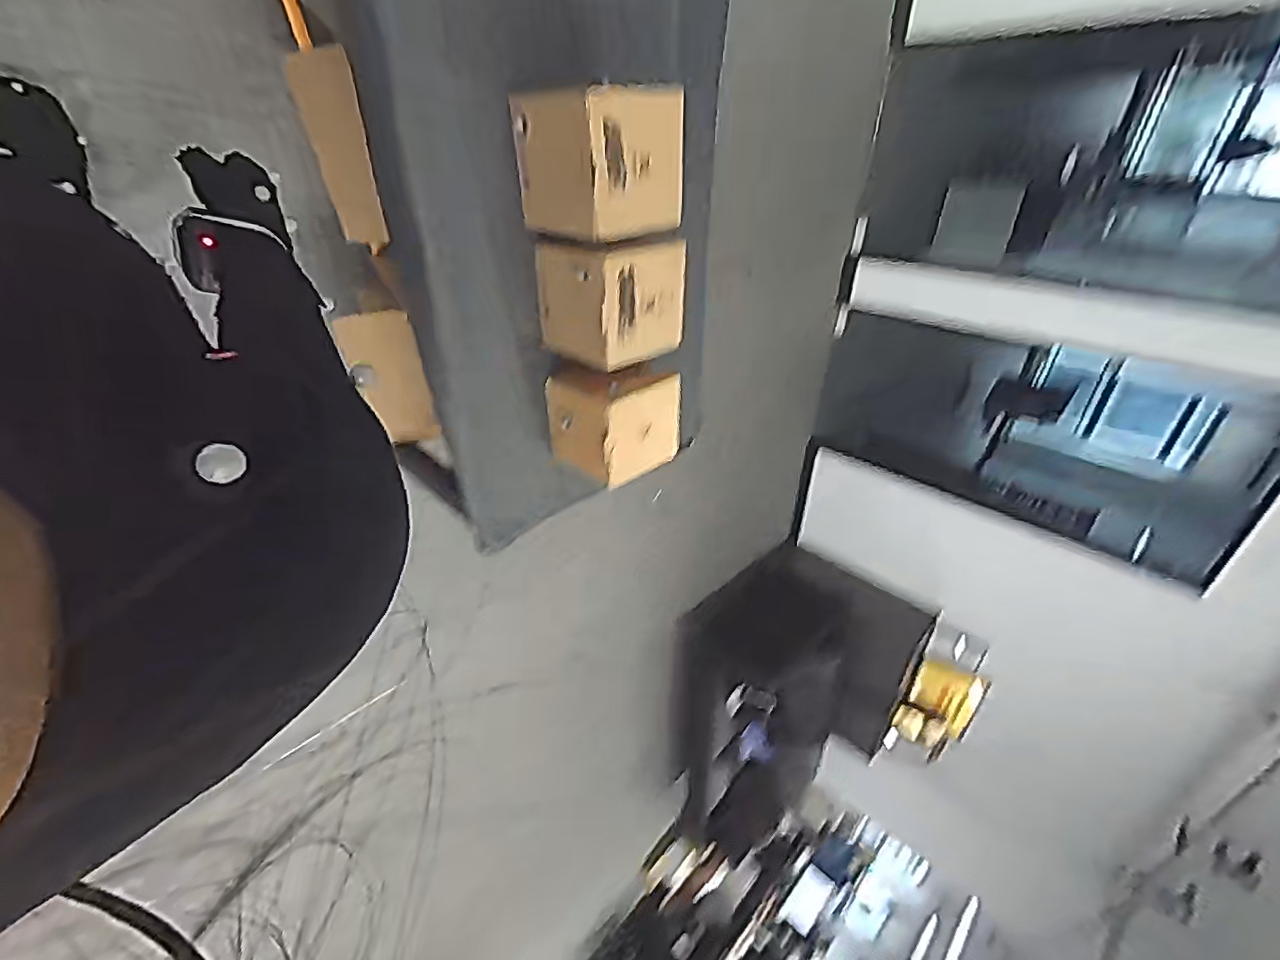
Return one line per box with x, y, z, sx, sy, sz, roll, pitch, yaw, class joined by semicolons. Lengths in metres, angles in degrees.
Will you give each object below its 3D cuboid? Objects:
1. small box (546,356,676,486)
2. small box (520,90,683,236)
-0.053;-0.121;1.018;0.179;0.176;0.168;-28;133;-36;small box
-0.058;-0.460;0.784;0.179;0.176;0.168;-30;134;-36;small box
